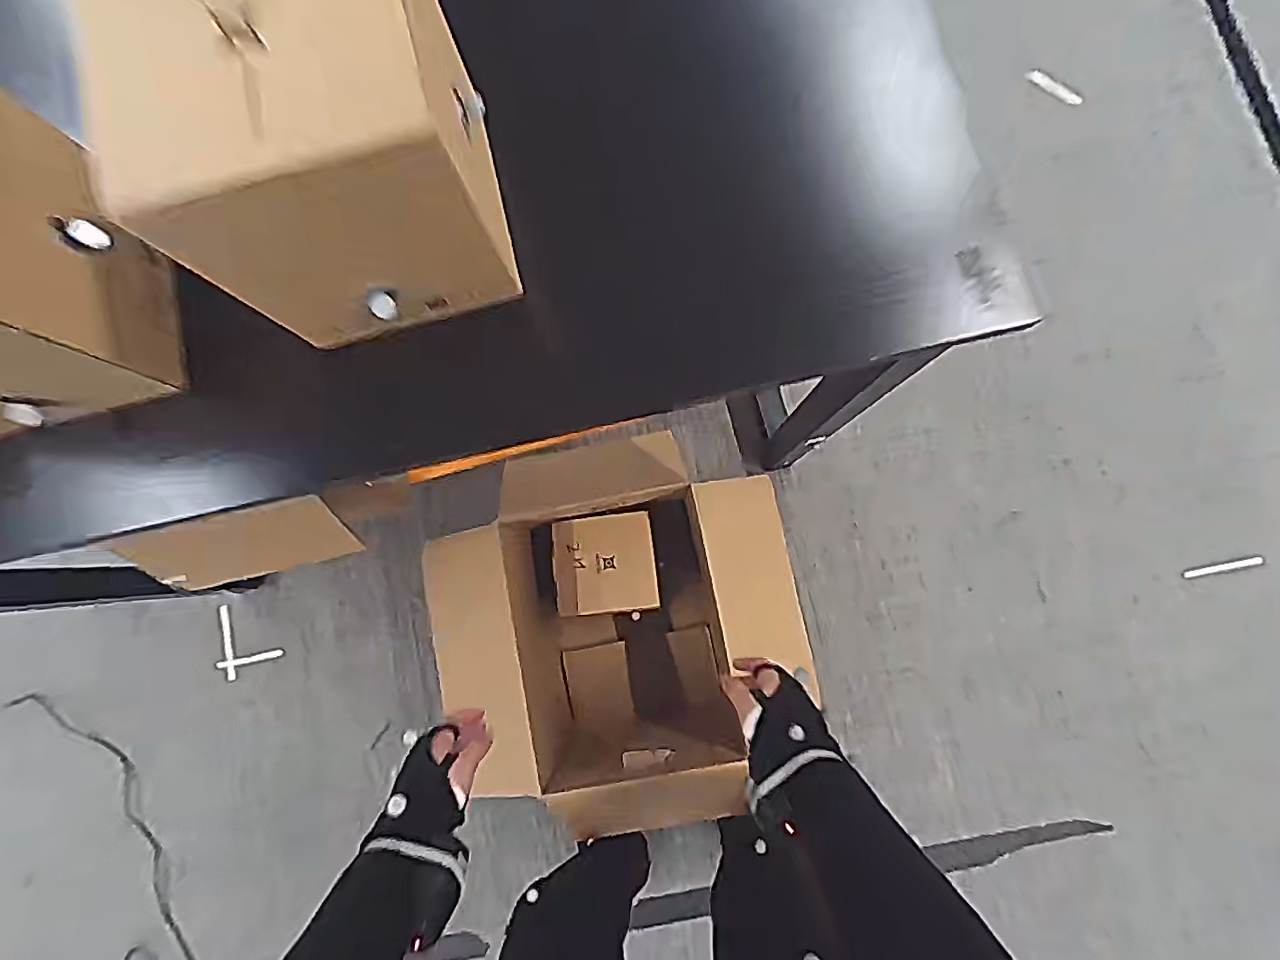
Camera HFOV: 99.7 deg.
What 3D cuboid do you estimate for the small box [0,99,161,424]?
[{"bbox_3d":[-0.450,-0.141,0.338,0.179,0.176,0.168,-14,81,-1],"label":"small box"}]

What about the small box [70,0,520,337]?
[{"bbox_3d":[-0.188,-0.218,0.340,0.168,0.176,0.179,-15,82,0],"label":"small box"}]
